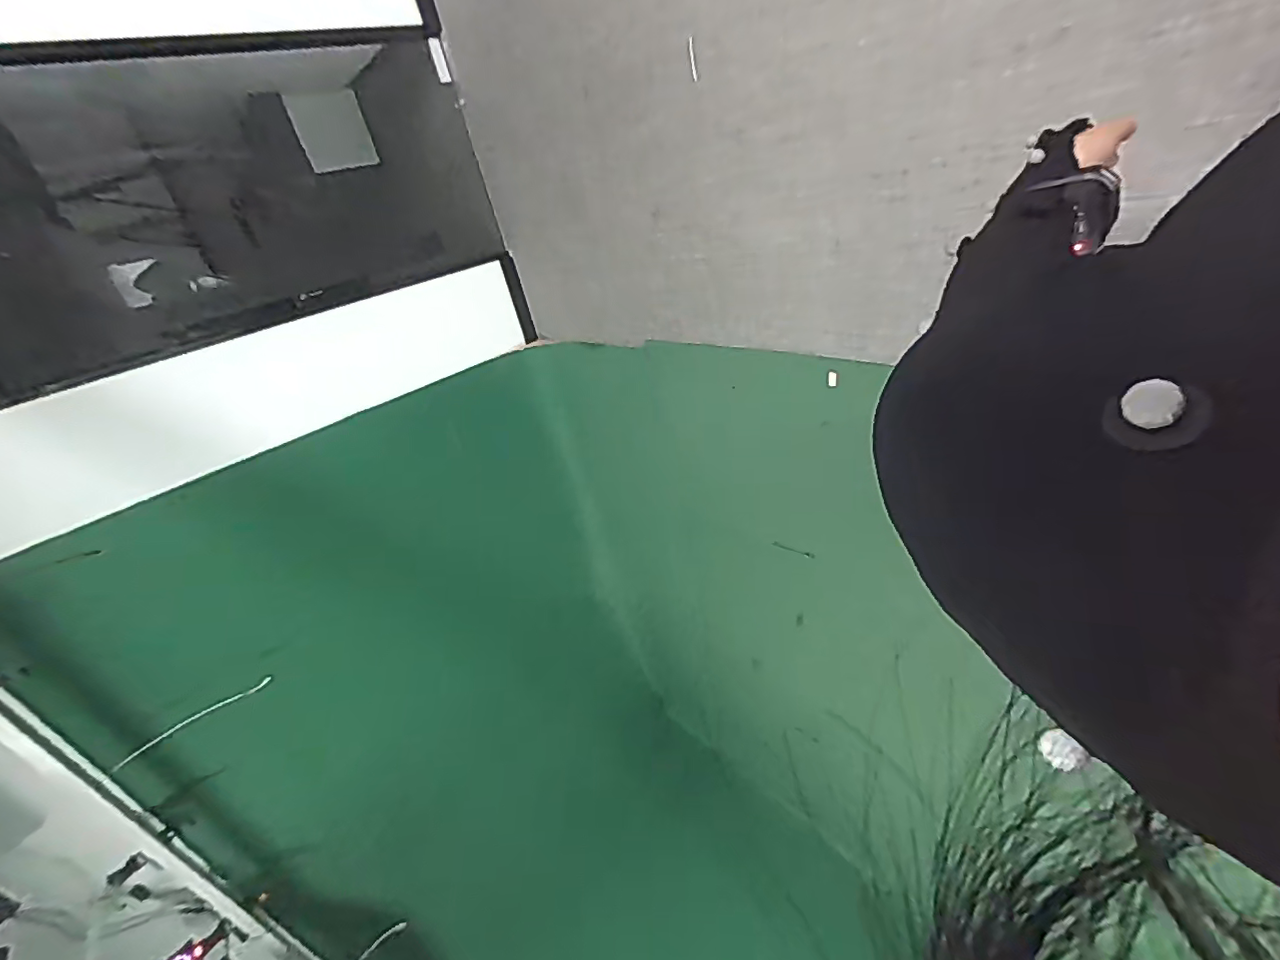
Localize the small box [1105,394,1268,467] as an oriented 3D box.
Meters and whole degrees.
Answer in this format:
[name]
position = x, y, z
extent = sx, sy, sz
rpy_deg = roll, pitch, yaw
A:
[small box]
position = 0.957, -0.041, 0.959
extent = 0.179, 0.176, 0.168
rpy_deg = 21, 131, 45
